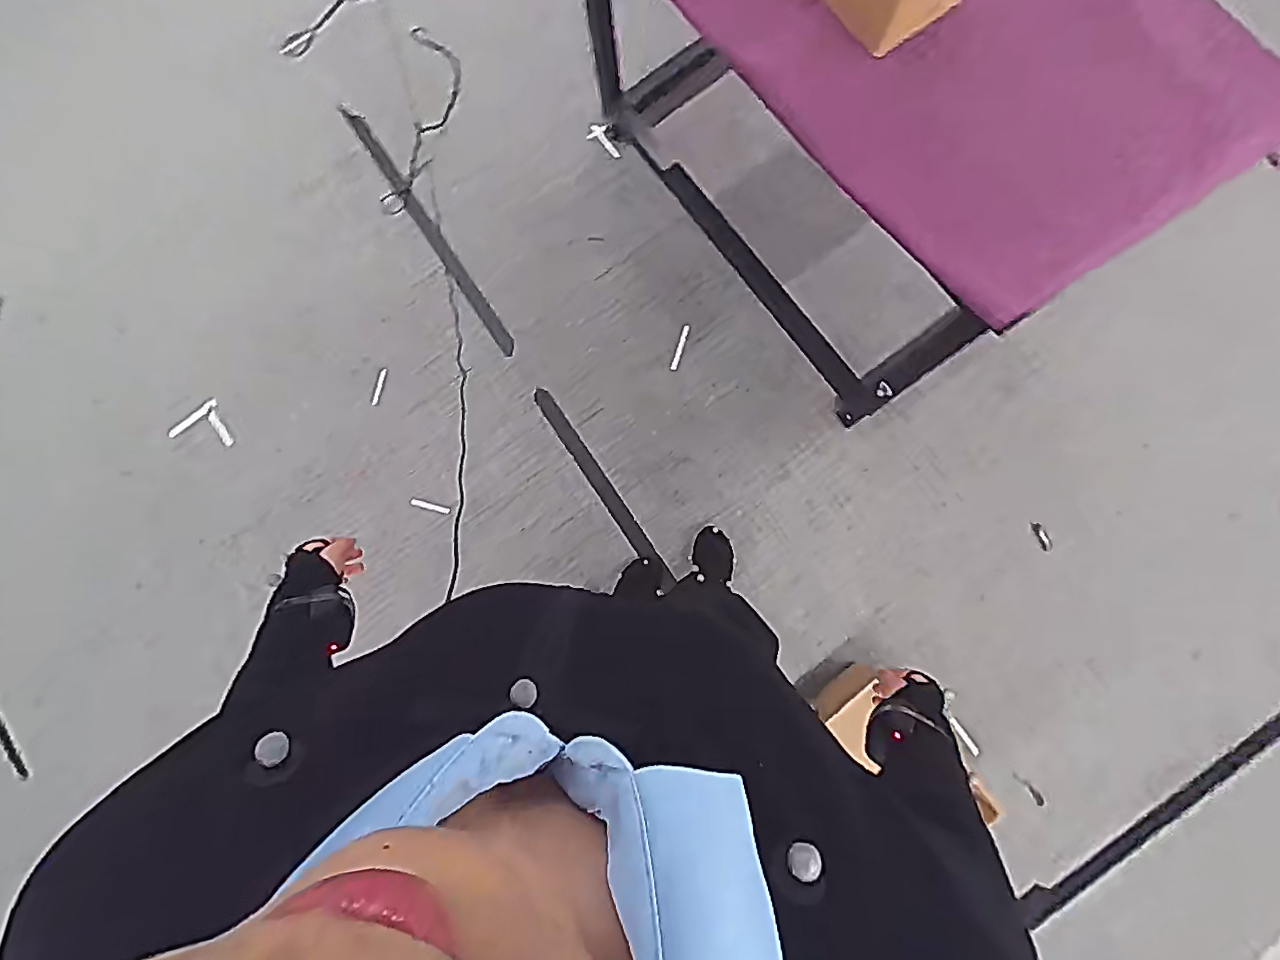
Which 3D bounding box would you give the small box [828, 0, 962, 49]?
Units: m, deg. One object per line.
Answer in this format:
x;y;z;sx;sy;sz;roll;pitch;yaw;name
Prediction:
0.396;-0.788;0.794;0.168;0.176;0.179;-35;82;-1;small box
